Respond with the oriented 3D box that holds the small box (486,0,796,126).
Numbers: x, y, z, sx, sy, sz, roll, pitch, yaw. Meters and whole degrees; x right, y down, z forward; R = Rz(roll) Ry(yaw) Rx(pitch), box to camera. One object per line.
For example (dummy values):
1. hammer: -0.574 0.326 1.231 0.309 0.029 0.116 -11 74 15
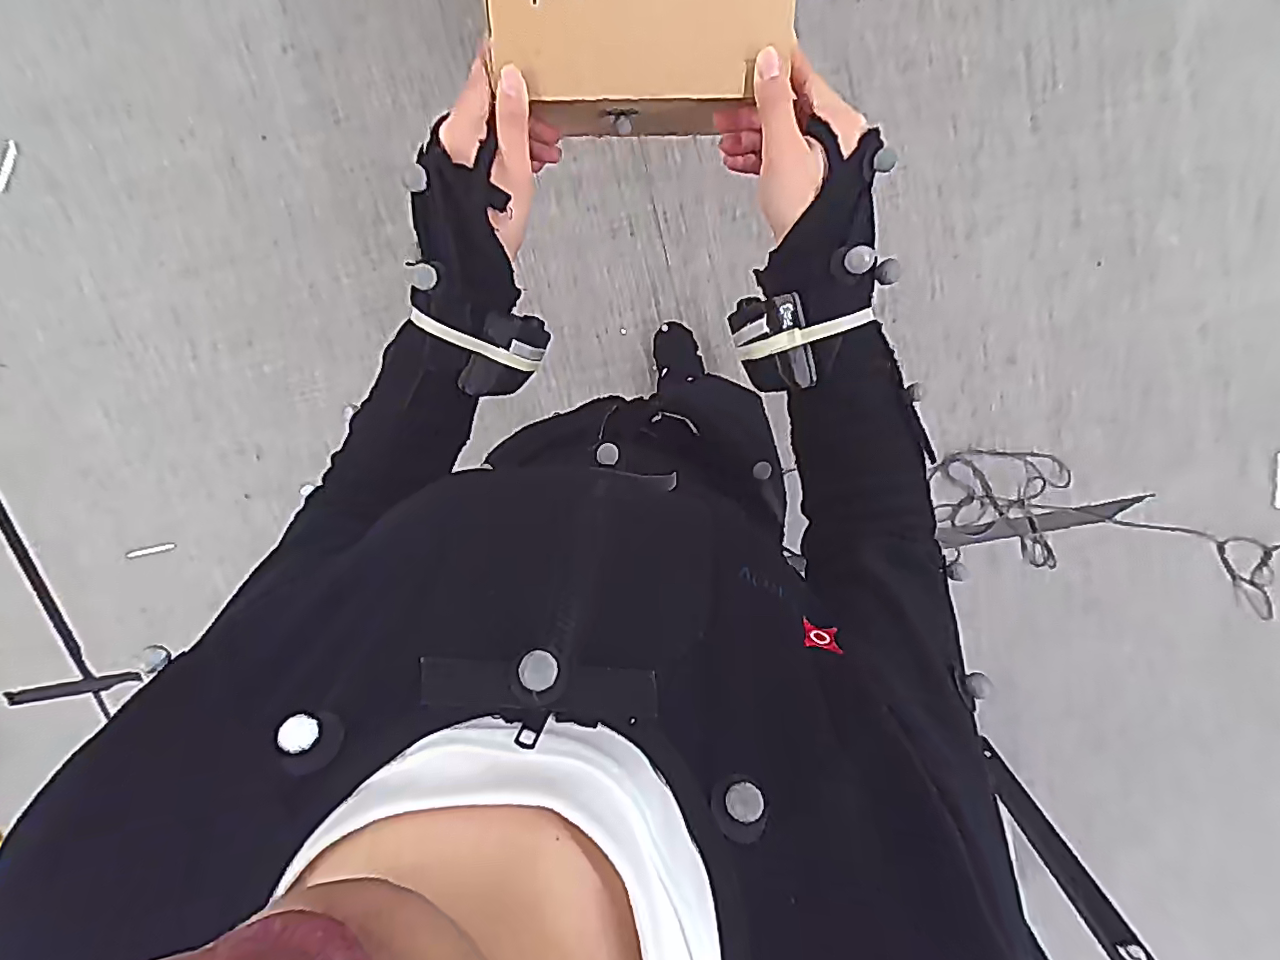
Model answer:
1. small box: 0.002 -0.340 0.353 0.179 0.176 0.168 0 116 1
